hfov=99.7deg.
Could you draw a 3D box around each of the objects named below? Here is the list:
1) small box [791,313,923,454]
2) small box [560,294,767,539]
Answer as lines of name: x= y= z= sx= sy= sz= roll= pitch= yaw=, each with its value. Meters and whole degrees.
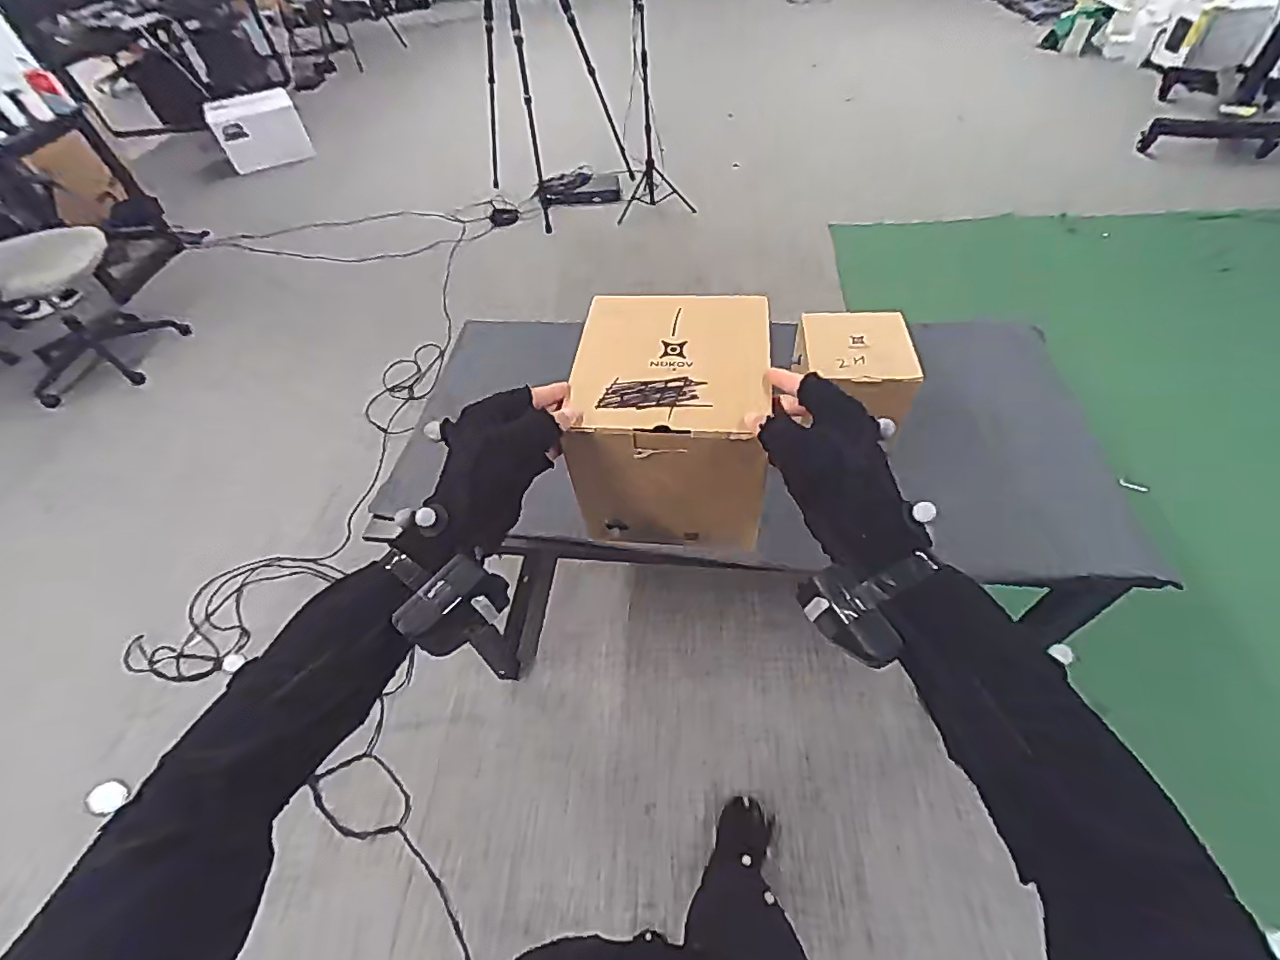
small box: x=0.356 y=-0.165 z=0.925 sx=0.168 sy=0.176 sz=0.179 roll=1 pitch=51 yaw=8
small box: x=0.034 y=-0.058 z=0.527 sx=0.168 sy=0.176 sz=0.179 roll=3 pitch=53 yaw=8
